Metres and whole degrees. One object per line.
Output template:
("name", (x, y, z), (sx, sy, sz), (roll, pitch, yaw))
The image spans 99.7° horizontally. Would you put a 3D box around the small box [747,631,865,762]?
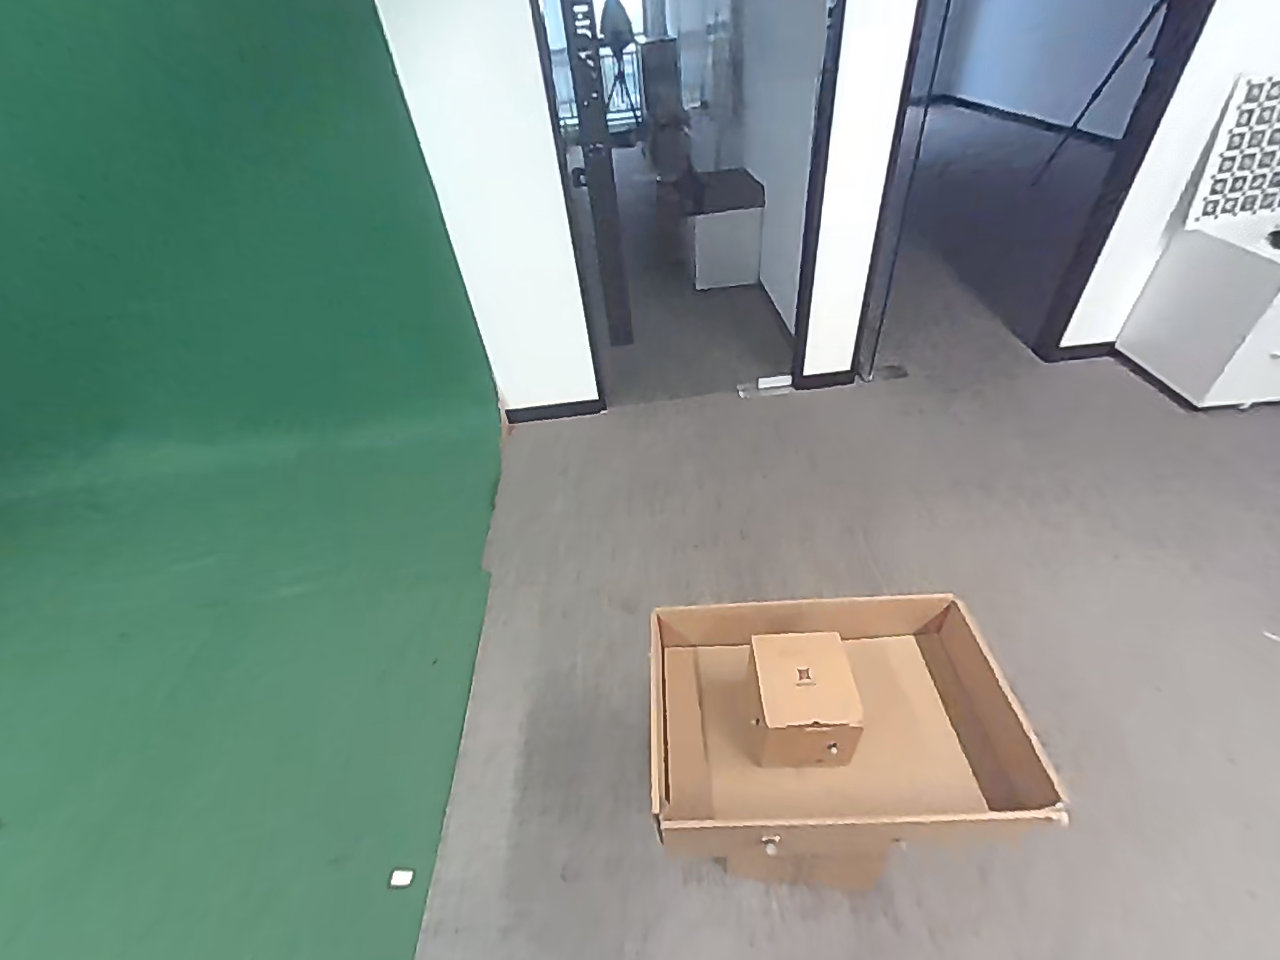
("small box", (0.296, 0.405, 1.004), (0.168, 0.176, 0.179), (-2, 40, 2))
